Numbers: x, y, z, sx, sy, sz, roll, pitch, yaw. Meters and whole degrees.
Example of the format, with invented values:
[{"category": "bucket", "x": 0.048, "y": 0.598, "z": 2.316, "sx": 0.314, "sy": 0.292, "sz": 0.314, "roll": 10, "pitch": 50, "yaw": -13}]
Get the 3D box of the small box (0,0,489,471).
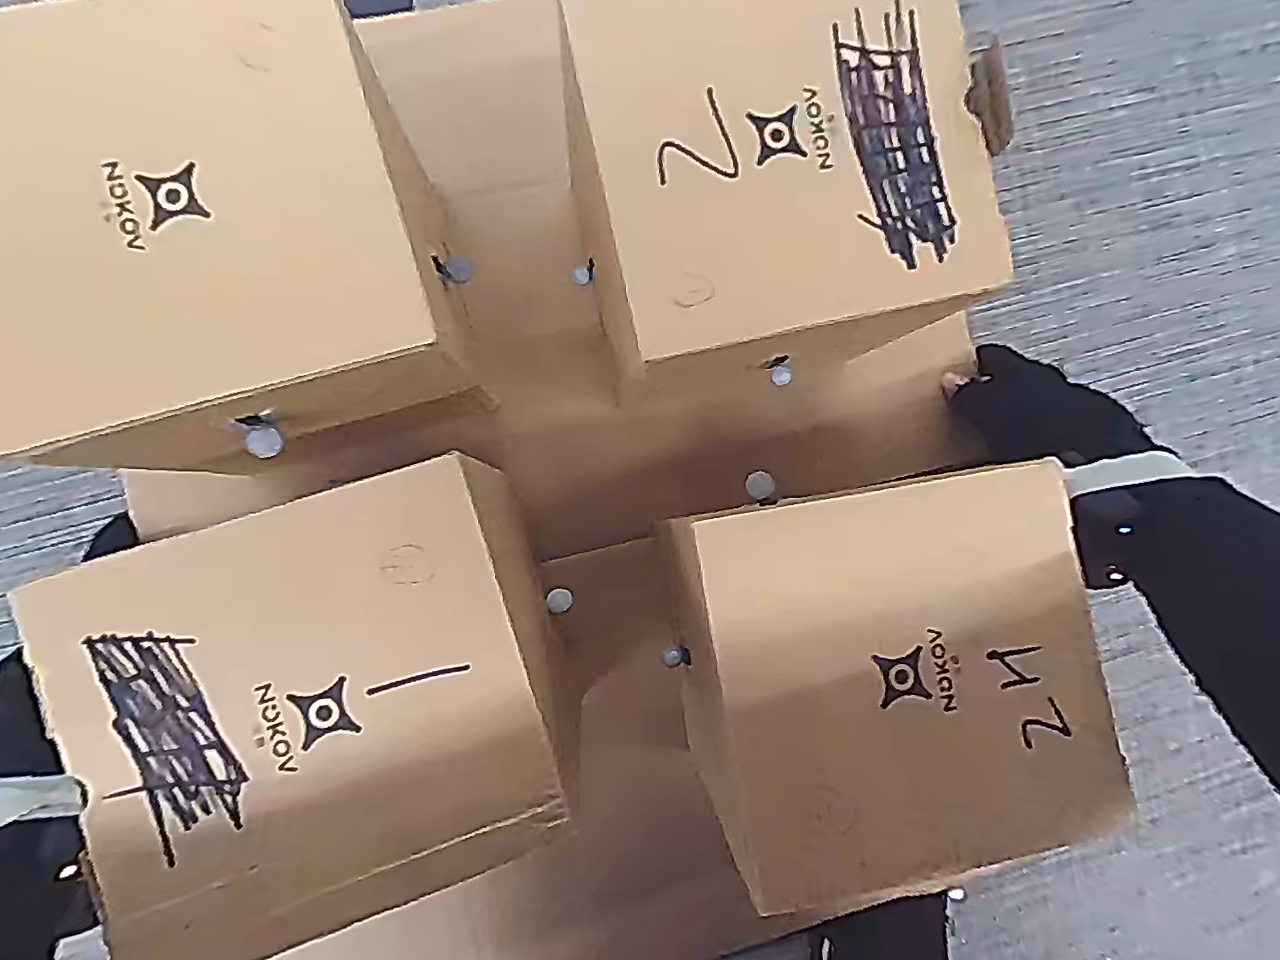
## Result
[{"category": "small box", "x": -0.195, "y": -0.107, "z": 0.300, "sx": 0.179, "sy": 0.176, "sz": 0.168, "roll": -17, "pitch": 90, "yaw": -4}]
